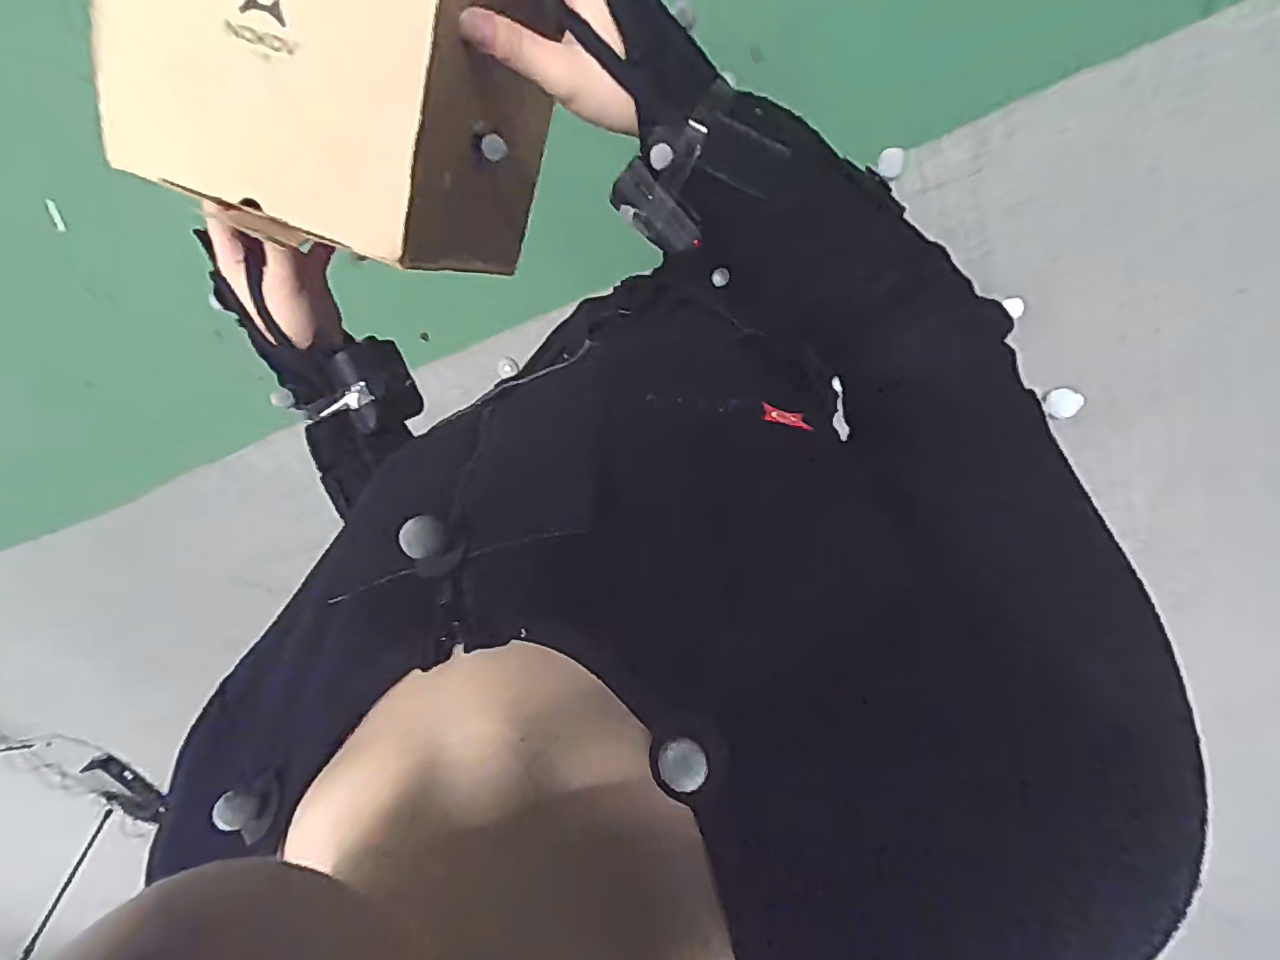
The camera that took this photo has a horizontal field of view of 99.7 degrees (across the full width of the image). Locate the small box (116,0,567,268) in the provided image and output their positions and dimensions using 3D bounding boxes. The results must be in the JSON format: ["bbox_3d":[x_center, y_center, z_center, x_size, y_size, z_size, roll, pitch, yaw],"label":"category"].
[{"bbox_3d":[-0.157,-0.242,0.327,0.168,0.176,0.179,20,112,1],"label":"small box"}]
